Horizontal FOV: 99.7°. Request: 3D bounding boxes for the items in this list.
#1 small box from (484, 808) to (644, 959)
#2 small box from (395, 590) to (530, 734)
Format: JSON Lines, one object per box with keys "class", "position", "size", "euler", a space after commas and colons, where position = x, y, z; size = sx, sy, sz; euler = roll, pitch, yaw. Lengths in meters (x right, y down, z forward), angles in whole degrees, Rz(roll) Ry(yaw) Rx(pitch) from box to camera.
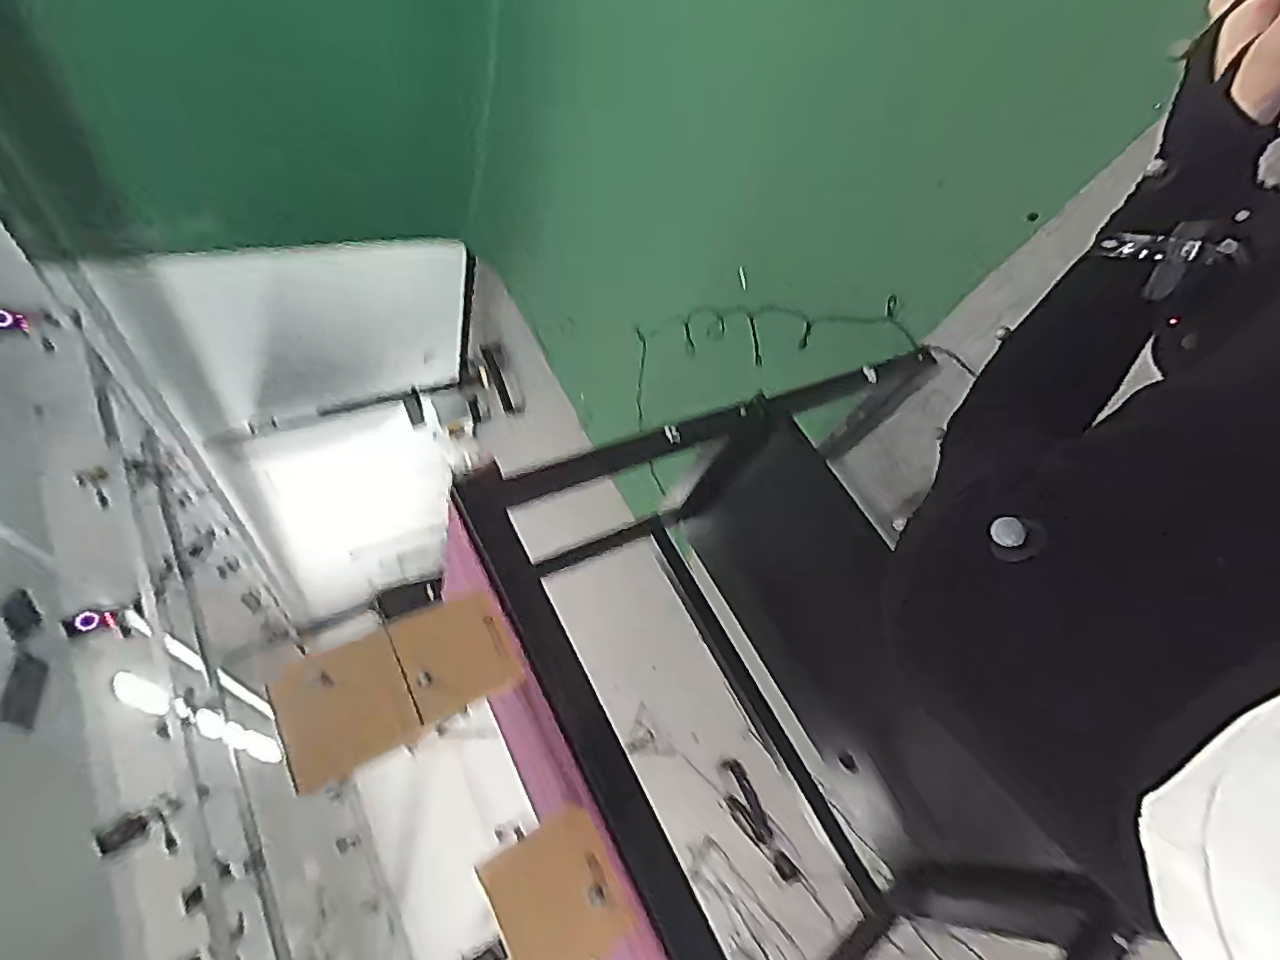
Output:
{"class": "small box", "position": [-0.117, 0.618, 0.804], "size": [0.168, 0.176, 0.179], "euler": [59, 149, 17]}
{"class": "small box", "position": [-0.305, 0.314, 0.935], "size": [0.168, 0.176, 0.179], "euler": [60, 149, 16]}
